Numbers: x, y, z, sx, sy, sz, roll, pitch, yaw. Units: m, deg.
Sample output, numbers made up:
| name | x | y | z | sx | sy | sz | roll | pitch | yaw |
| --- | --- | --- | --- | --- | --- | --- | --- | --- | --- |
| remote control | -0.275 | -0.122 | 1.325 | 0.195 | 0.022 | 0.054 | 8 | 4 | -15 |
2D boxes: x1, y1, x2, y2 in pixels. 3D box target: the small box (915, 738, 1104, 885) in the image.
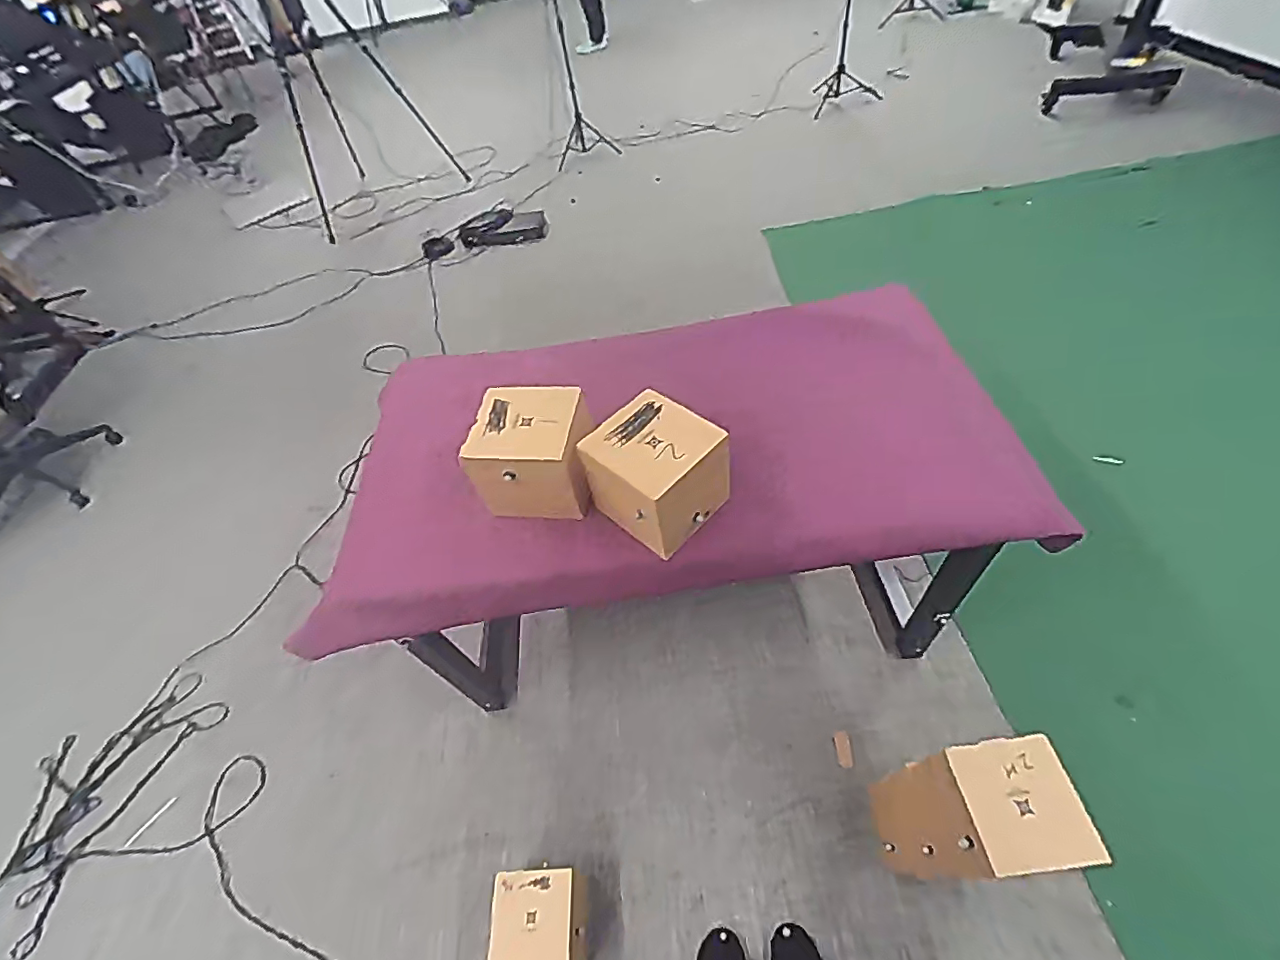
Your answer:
| name | x | y | z | sx | sy | sz | roll | pitch | yaw |
| --- | --- | --- | --- | --- | --- | --- | --- | --- | --- |
| small box | 0.582 | 0.542 | 0.882 | 0.168 | 0.176 | 0.179 | -9 | 52 | 2 |

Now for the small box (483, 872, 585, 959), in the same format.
| name | x | y | z | sx | sy | sz | roll | pitch | yaw |
| --- | --- | --- | --- | --- | --- | --- | --- | --- | --- |
| small box | -0.212 | 0.927 | 1.124 | 0.168 | 0.176 | 0.179 | -6 | 52 | 4 |

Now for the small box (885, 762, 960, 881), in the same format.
| name | x | y | z | sx | sy | sz | roll | pitch | yaw |
| --- | --- | --- | --- | --- | --- | --- | --- | --- | --- |
| small box | 0.587 | 0.636 | 1.017 | 0.168 | 0.176 | 0.179 | -10 | 52 | 1 |

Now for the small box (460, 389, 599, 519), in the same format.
| name | x | y | z | sx | sy | sz | roll | pitch | yaw |
| --- | --- | --- | --- | --- | --- | --- | --- | --- | --- |
| small box | -0.184 | -0.044 | 0.956 | 0.179 | 0.176 | 0.168 | 2 | 52 | 10 |

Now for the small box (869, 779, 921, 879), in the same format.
| name | x | y | z | sx | sy | sz | roll | pitch | yaw |
| --- | --- | --- | --- | --- | --- | --- | --- | --- | --- |
| small box | 0.602 | 0.735 | 1.144 | 0.179 | 0.176 | 0.168 | -7 | 51 | 3 |
